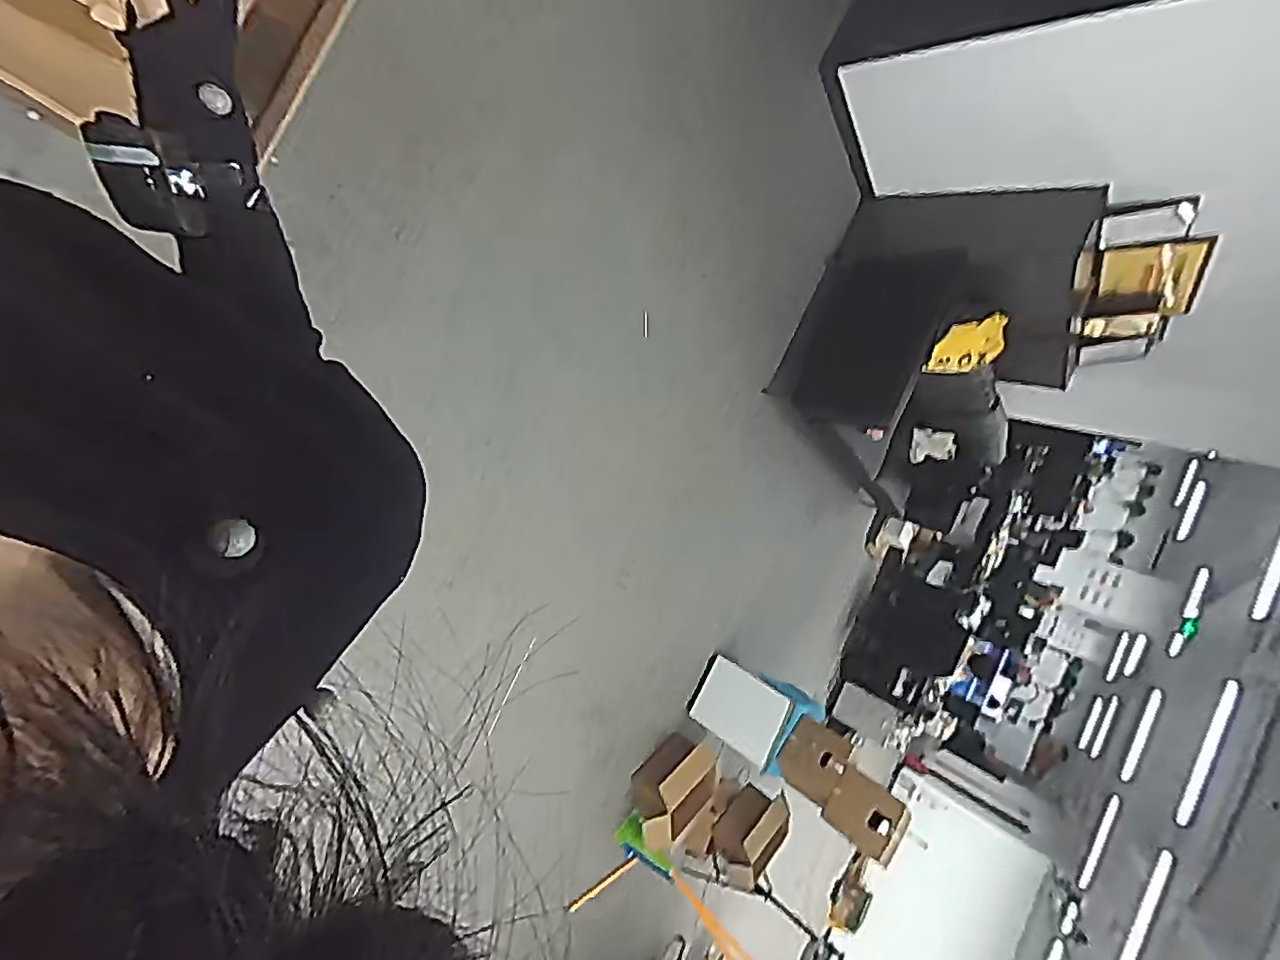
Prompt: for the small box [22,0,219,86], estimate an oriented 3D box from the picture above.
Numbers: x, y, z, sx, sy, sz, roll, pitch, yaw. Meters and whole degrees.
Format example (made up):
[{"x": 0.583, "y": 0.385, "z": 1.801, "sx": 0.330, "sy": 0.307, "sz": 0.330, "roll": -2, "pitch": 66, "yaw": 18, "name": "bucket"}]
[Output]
[{"x": -0.619, "y": -0.615, "z": 0.646, "sx": 0.168, "sy": 0.176, "sz": 0.179, "roll": 9, "pitch": 100, "yaw": -50, "name": "small box"}]
